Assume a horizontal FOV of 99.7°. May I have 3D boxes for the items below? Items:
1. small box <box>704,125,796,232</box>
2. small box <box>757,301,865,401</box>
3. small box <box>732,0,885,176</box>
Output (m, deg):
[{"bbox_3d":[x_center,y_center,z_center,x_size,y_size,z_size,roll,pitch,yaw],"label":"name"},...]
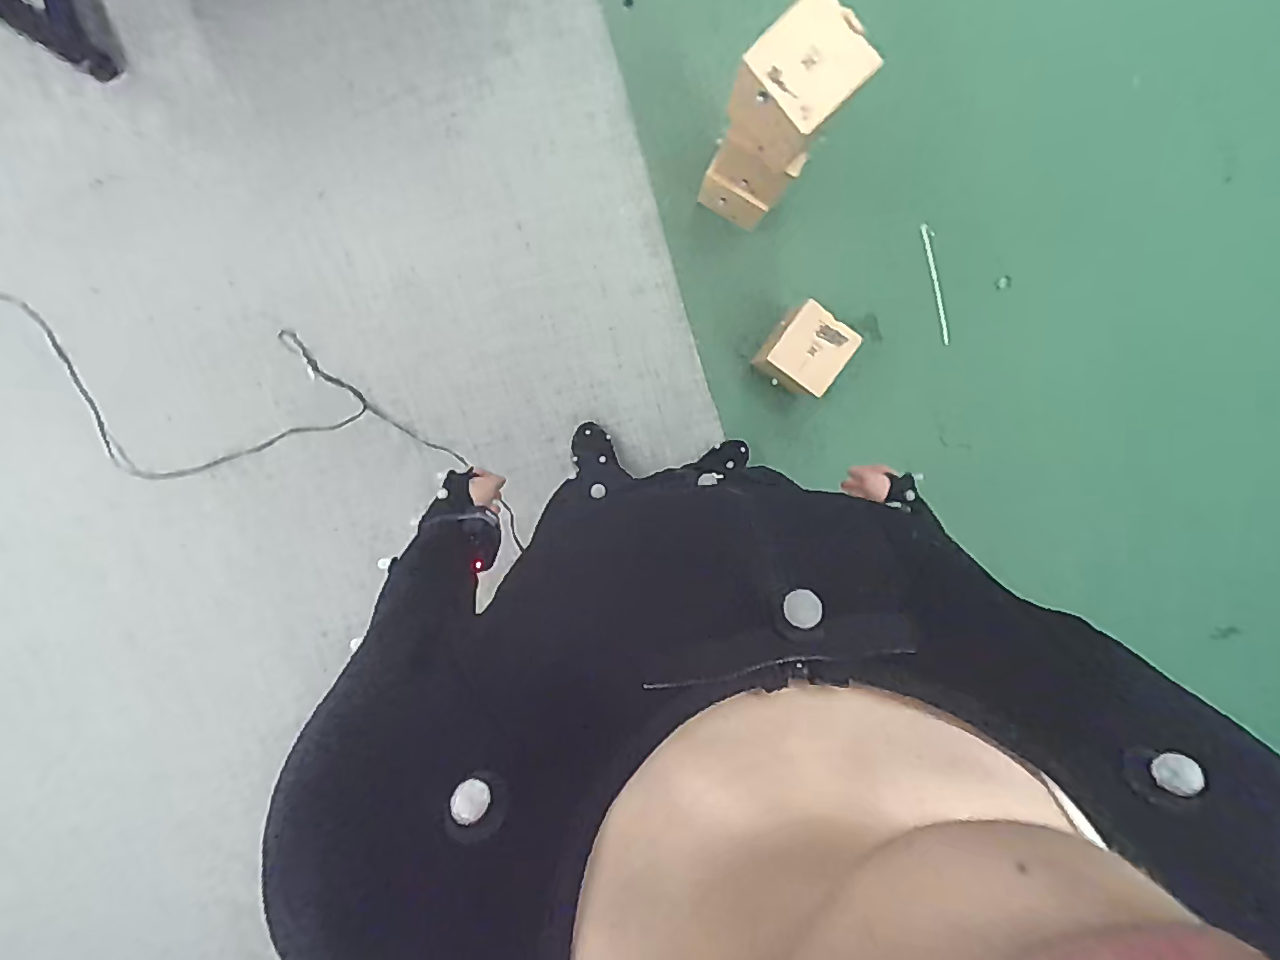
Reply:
[{"bbox_3d":[0.265,-0.731,1.297,0.168,0.176,0.179,28,96,-5],"label":"small box"},{"bbox_3d":[0.418,-0.317,1.357,0.168,0.176,0.179,35,97,-6],"label":"small box"},{"bbox_3d":[0.288,-0.698,0.969,0.179,0.176,0.168,-42,96,5],"label":"small box"}]
